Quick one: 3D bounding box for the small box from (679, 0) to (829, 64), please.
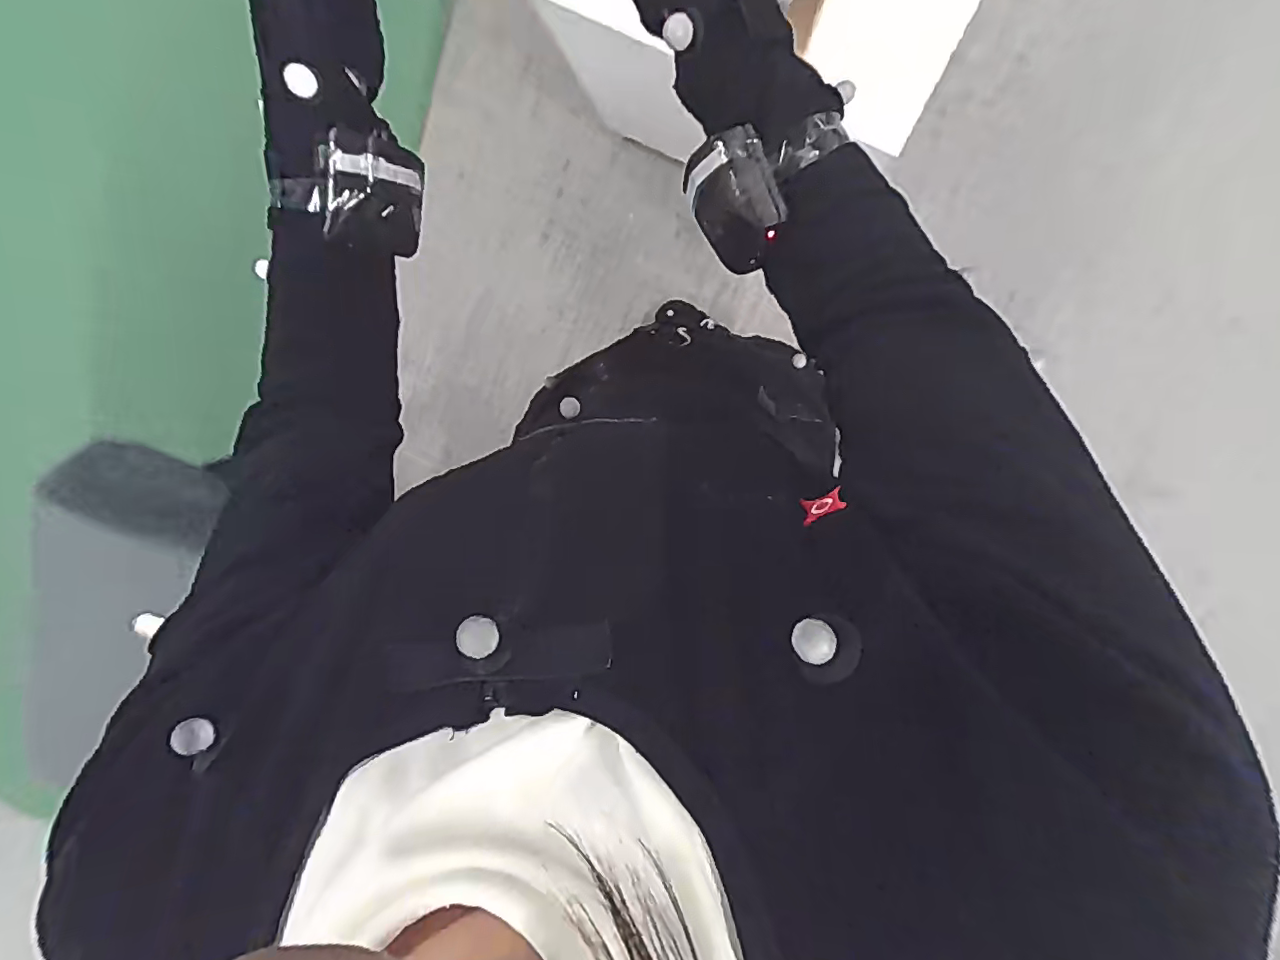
[{"bbox_3d":[0.134,-0.573,0.544,0.168,0.176,0.179,22,110,3],"label":"small box"}]
